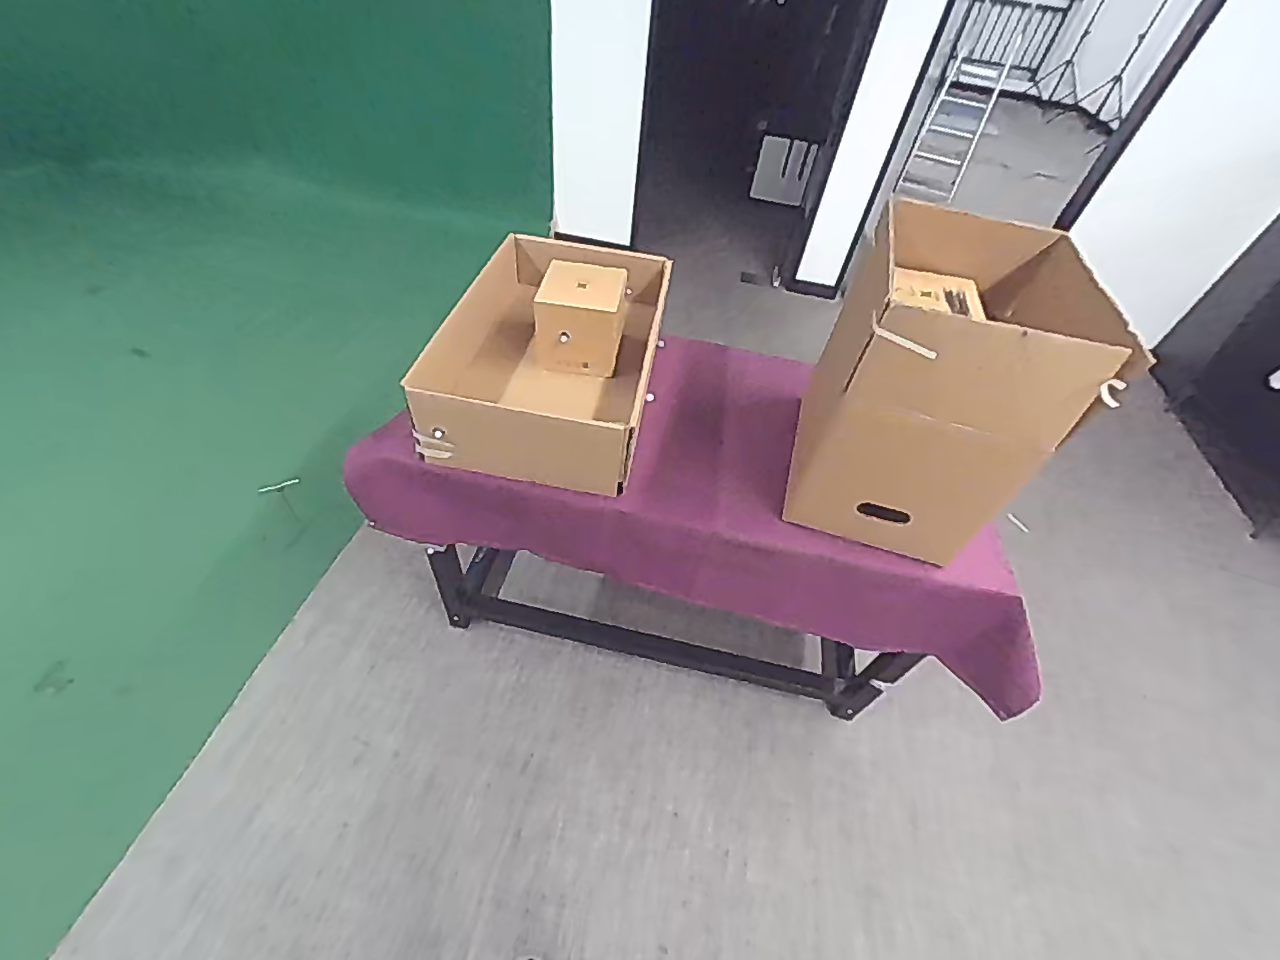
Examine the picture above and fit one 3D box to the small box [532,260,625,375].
[{"bbox_3d":[-0.127,-0.349,1.172,0.168,0.176,0.179,7,48,1],"label":"small box"}]
